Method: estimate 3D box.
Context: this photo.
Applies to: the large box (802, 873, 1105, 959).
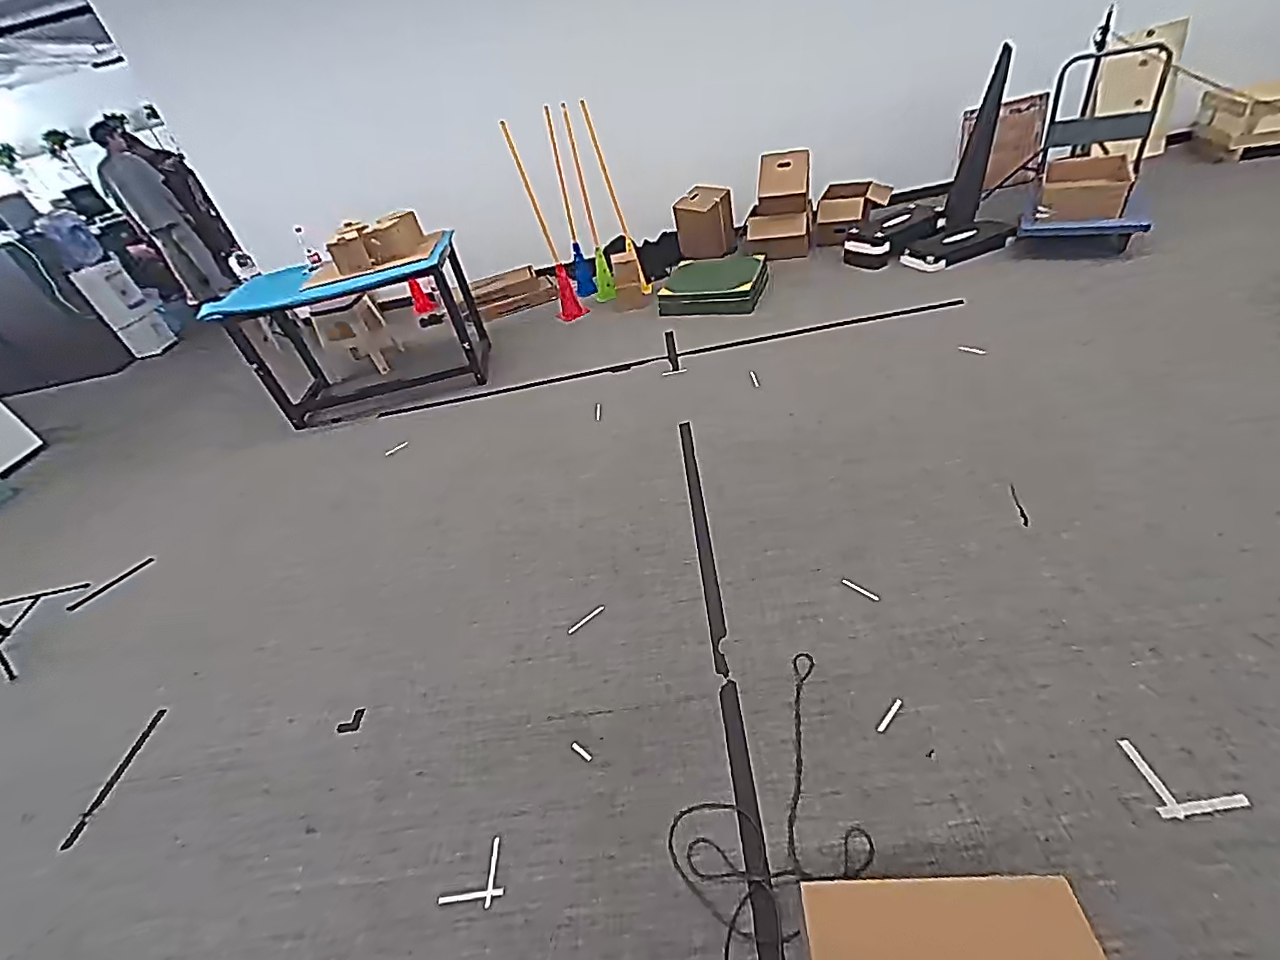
[{"bbox_3d":[0.488,0.852,0.840,0.408,0.320,0.320,-8,39,8],"label":"large box"}]
